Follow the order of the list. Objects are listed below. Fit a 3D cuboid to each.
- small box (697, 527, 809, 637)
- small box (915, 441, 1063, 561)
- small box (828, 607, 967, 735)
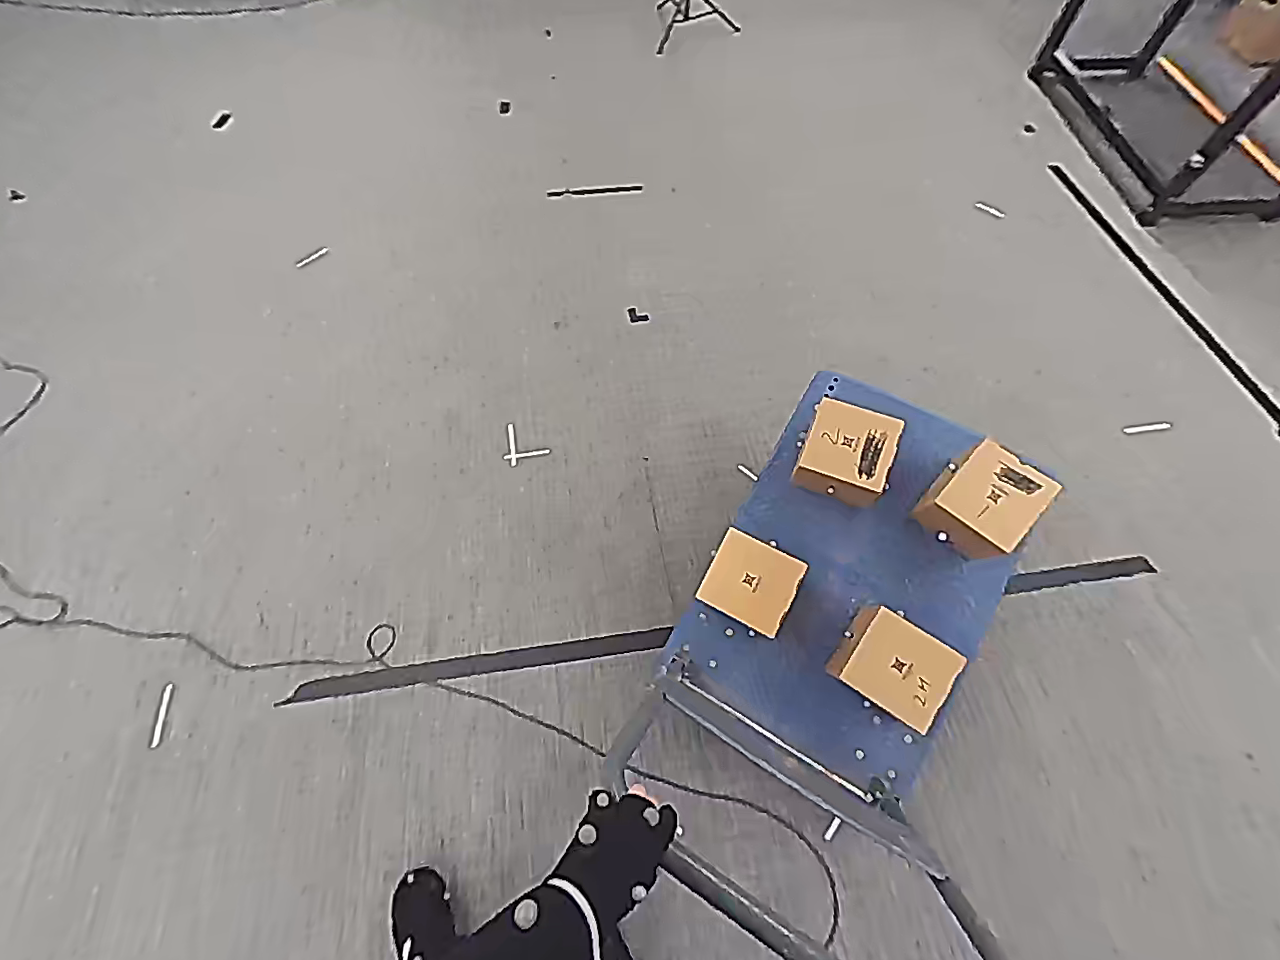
[{"bbox_3d":[0.238,0.224,1.170,0.179,0.176,0.168,27,82,13],"label":"small box"},{"bbox_3d":[0.717,0.052,1.137,0.168,0.176,0.179,40,86,16],"label":"small box"},{"bbox_3d":[0.504,0.376,1.090,0.179,0.176,0.168,33,84,15],"label":"small box"}]
